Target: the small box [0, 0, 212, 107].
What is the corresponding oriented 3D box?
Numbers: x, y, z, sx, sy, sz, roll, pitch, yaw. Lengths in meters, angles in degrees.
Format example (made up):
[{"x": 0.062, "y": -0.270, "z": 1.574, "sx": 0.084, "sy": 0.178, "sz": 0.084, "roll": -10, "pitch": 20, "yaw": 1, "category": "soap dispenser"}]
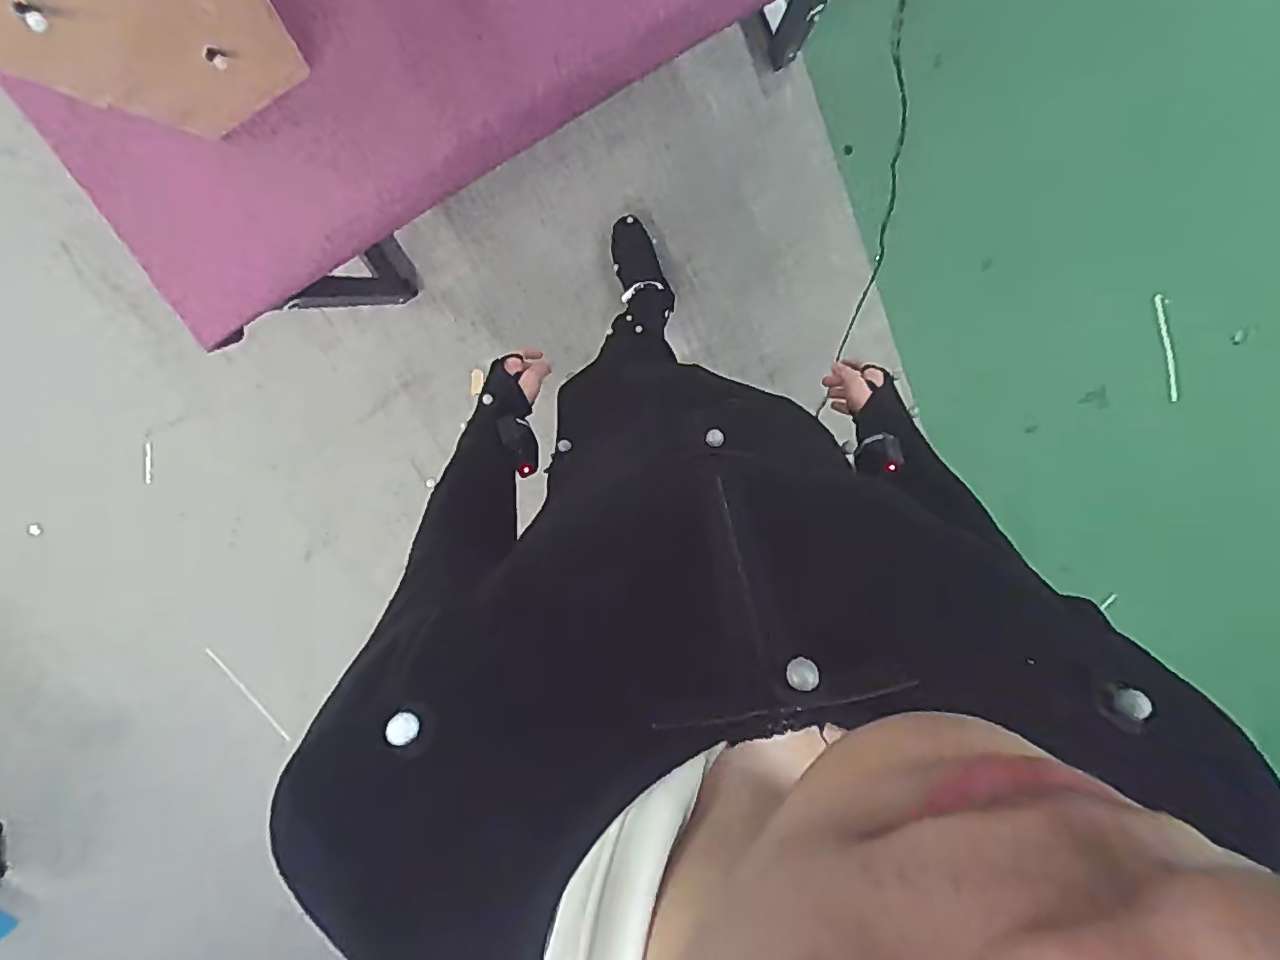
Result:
[{"x": -0.556, "y": -0.496, "z": 0.503, "sx": 0.179, "sy": 0.176, "sz": 0.168, "roll": -25, "pitch": 106, "yaw": 11, "category": "small box"}]
